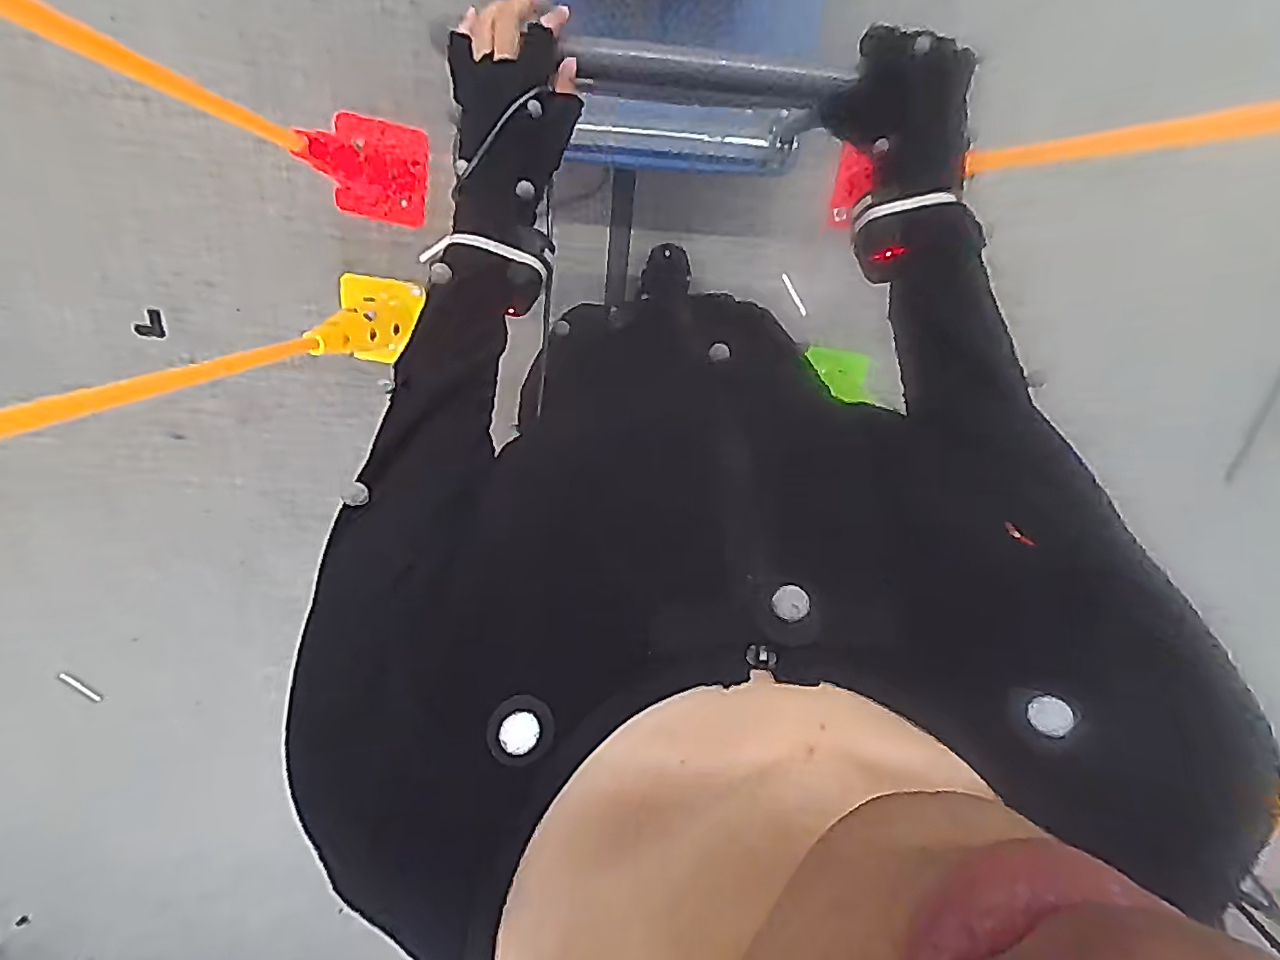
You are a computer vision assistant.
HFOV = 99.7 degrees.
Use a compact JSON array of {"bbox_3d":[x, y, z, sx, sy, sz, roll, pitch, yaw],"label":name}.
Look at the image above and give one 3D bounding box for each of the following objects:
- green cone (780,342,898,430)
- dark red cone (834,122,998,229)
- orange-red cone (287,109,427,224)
[{"bbox_3d":[0.497,-0.188,1.279,0.202,0.368,0.200,7,112,-7],"label":"green cone"},{"bbox_3d":[0.563,-0.625,1.079,0.201,0.394,0.202,3,113,-6],"label":"dark red cone"},{"bbox_3d":[-0.571,-0.630,1.046,0.198,0.360,0.199,11,111,-8],"label":"orange-red cone"}]
